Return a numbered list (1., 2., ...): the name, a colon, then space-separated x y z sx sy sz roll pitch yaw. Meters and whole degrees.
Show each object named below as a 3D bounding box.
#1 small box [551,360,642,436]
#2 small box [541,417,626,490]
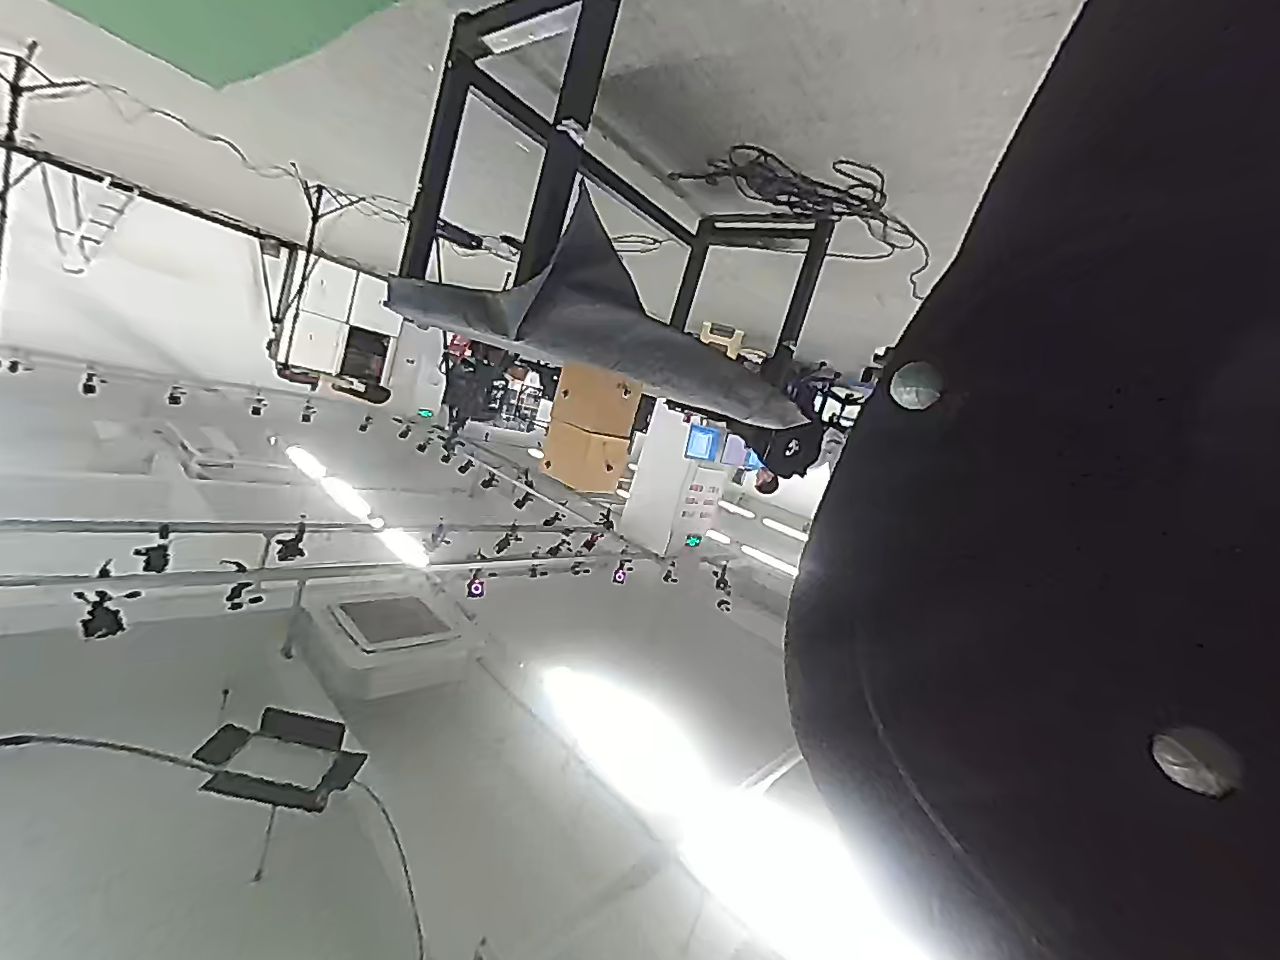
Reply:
1. small box: -0.121 -0.236 1.538 0.179 0.176 0.168 22 -169 37
2. small box: -0.157 -0.079 1.562 0.179 0.176 0.168 25 -167 38
